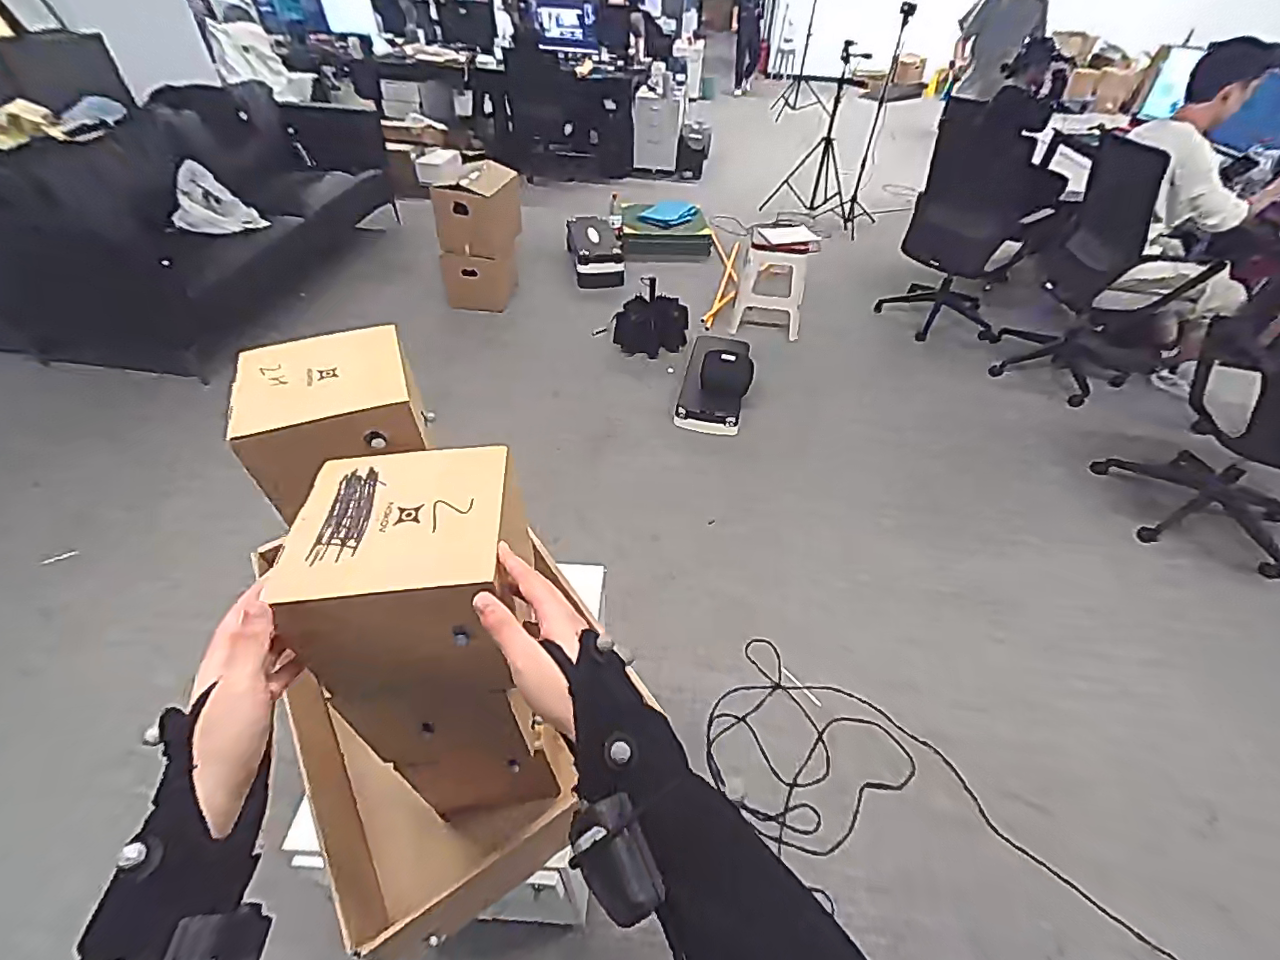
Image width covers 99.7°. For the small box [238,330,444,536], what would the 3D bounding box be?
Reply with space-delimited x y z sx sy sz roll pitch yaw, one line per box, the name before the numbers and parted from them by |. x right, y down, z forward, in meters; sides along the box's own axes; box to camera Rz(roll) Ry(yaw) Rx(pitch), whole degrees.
small box | -0.355 -0.058 0.674 0.179 0.176 0.168 -17 48 -15

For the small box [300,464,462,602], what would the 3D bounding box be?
small box | -0.371 0.049 0.799 0.168 0.176 0.179 -14 49 -13

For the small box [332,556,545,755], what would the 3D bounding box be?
small box | -0.214 0.208 0.640 0.179 0.176 0.168 -3 42 1
